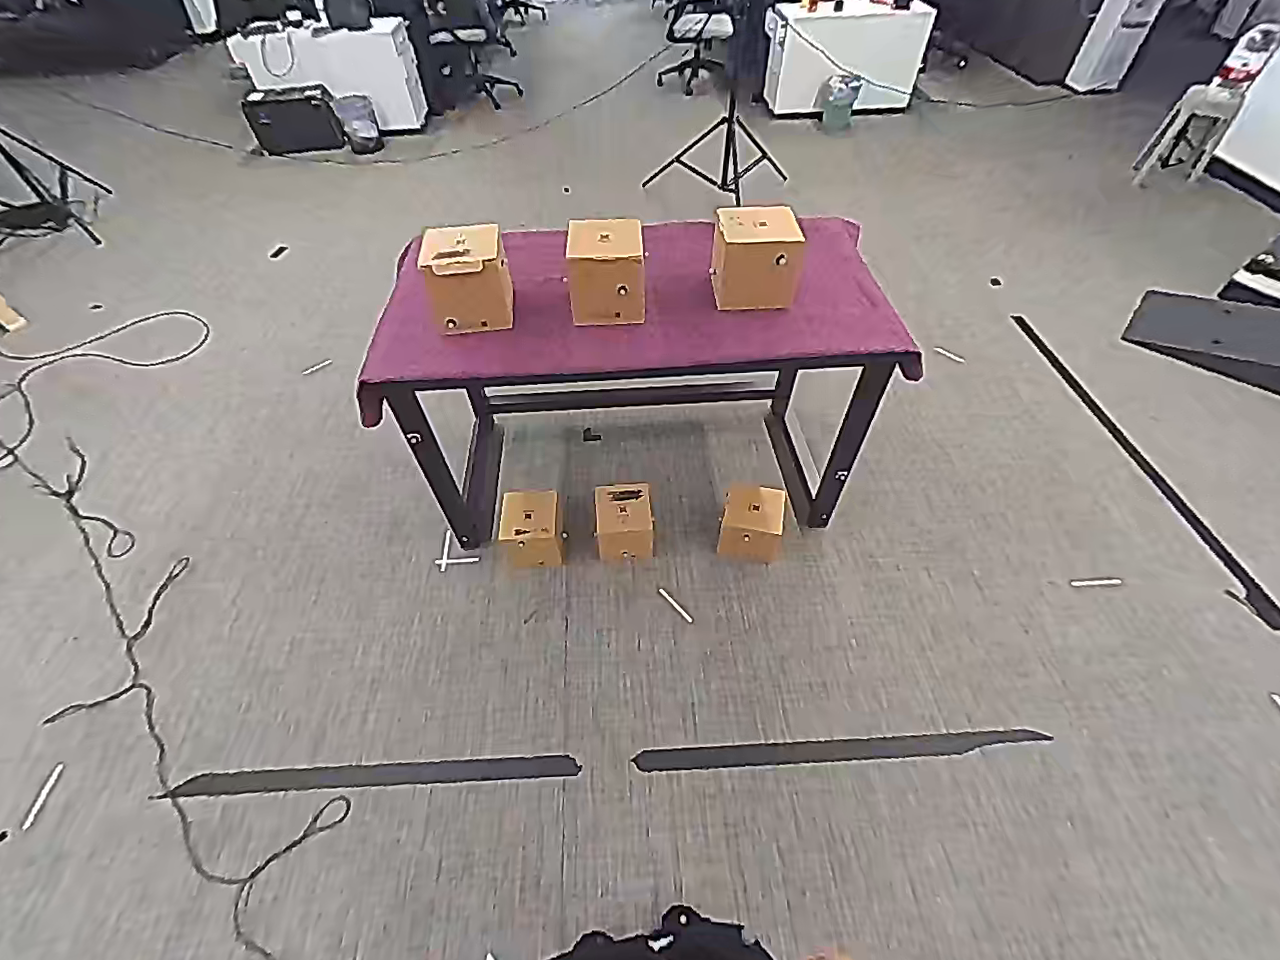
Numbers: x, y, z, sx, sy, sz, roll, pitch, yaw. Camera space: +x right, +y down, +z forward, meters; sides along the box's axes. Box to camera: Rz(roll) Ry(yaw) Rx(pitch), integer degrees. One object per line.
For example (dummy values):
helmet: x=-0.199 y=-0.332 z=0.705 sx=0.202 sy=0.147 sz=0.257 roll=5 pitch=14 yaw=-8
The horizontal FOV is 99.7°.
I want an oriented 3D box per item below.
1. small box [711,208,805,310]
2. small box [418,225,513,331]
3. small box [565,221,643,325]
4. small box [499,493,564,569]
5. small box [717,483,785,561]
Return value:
small box: x=0.268 y=-0.517 z=1.273 sx=0.179 sy=0.176 sz=0.168 roll=-2 pitch=50 yaw=0
small box: x=-0.388 y=-0.454 z=1.234 sx=0.168 sy=0.176 sz=0.179 roll=-7 pitch=49 yaw=-5
small box: x=-0.077 y=-0.473 z=1.247 sx=0.168 sy=0.176 sz=0.179 roll=-2 pitch=49 yaw=-2
small box: x=-0.330 y=0.158 z=1.679 sx=0.168 sy=0.176 sz=0.179 roll=-2 pitch=50 yaw=0
small box: x=0.343 y=0.135 z=1.685 sx=0.179 sy=0.176 sz=0.168 roll=9 pitch=53 yaw=10
